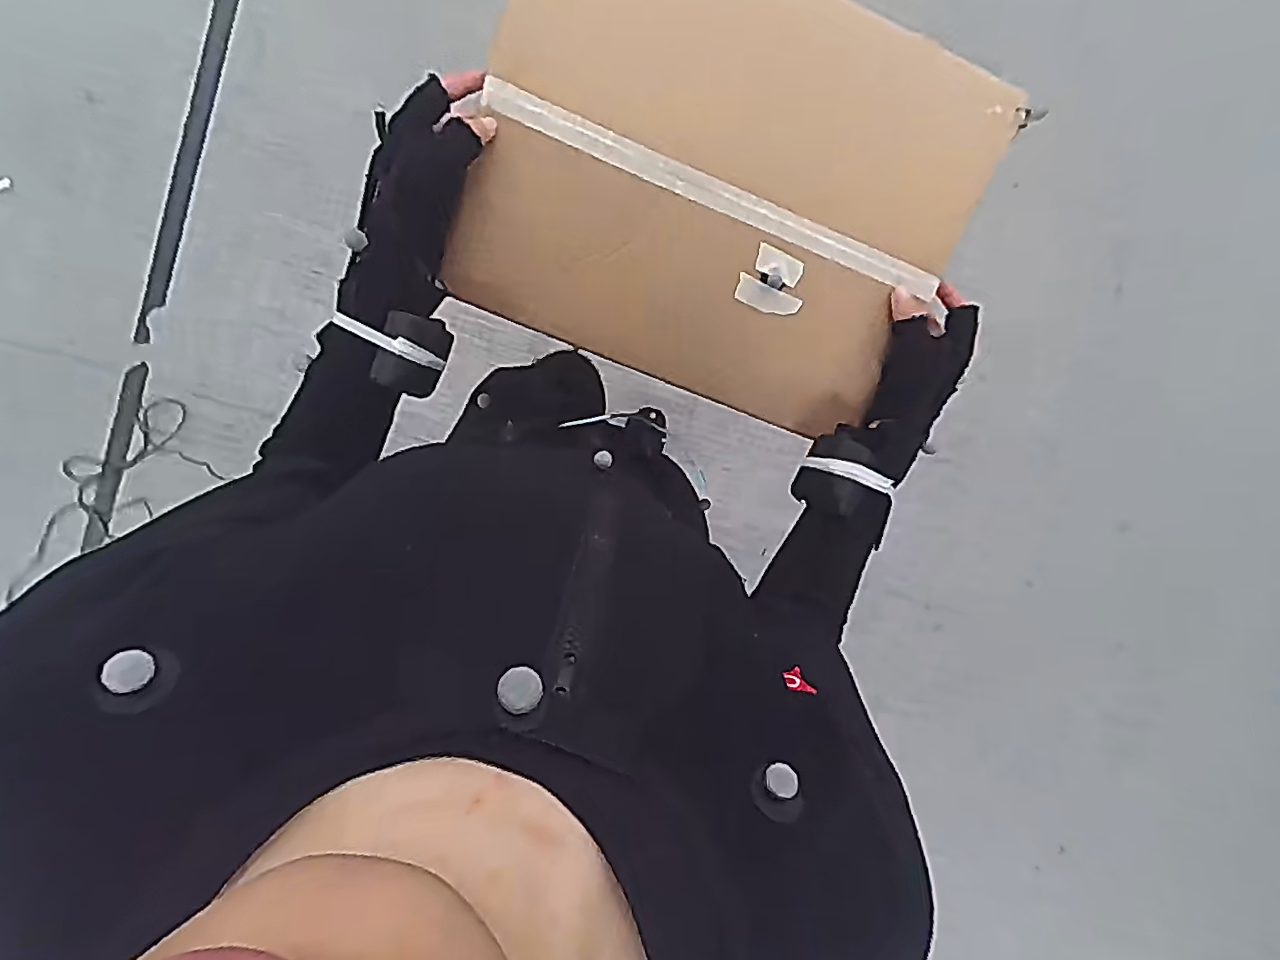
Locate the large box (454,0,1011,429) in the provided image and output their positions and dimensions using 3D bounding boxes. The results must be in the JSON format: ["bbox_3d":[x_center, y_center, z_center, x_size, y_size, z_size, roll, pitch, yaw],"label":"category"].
[{"bbox_3d":[0.064,-0.293,0.601,0.408,0.320,0.320,19,108,-9],"label":"large box"}]
